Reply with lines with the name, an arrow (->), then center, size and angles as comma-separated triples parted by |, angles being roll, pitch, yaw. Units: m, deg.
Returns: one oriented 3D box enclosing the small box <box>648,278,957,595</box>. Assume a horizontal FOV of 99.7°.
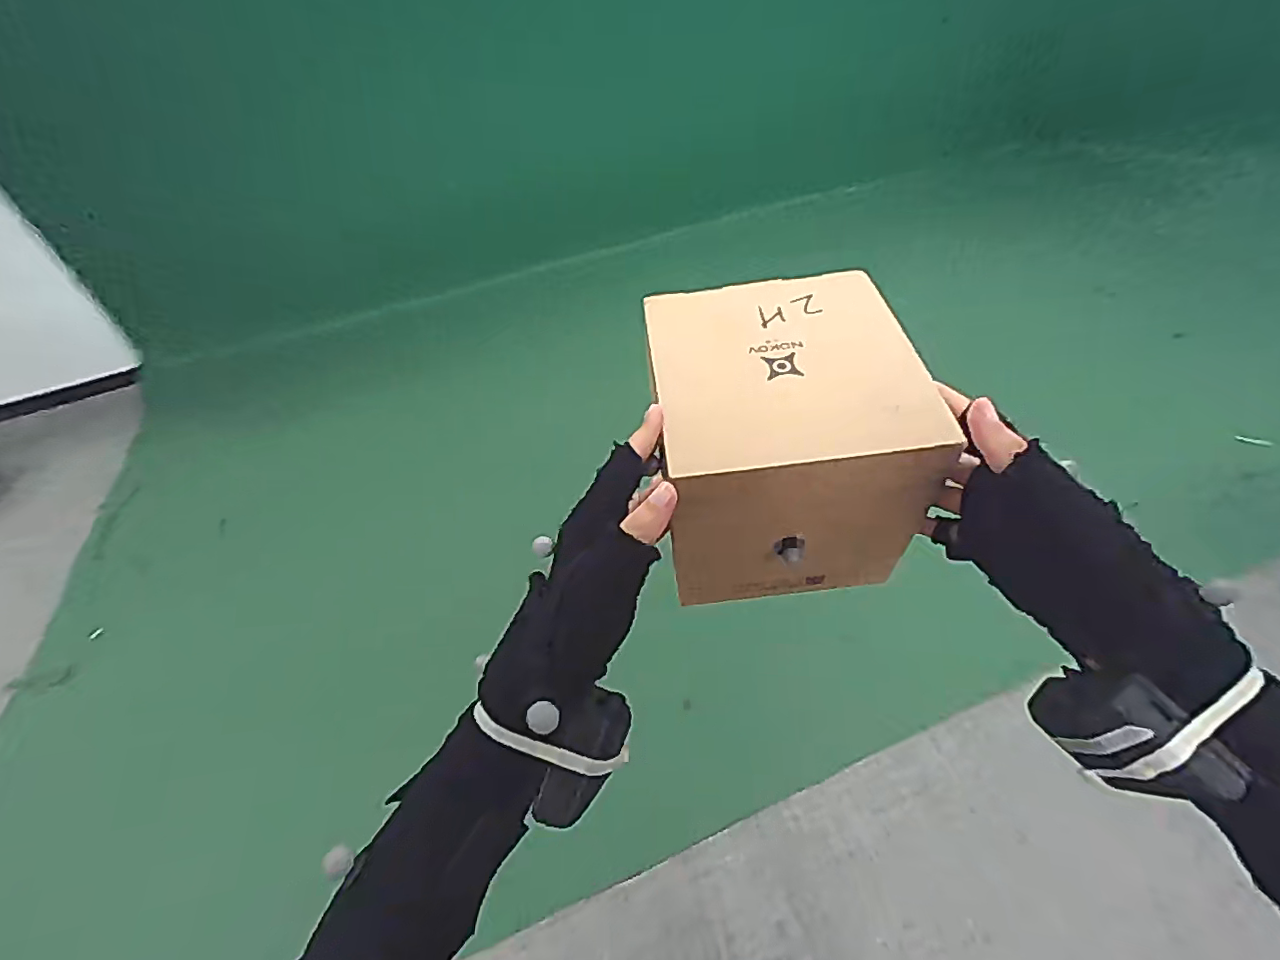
small box -> 0.099, -0.024, 0.413 | 0.168, 0.176, 0.179 | -6, 51, 2
